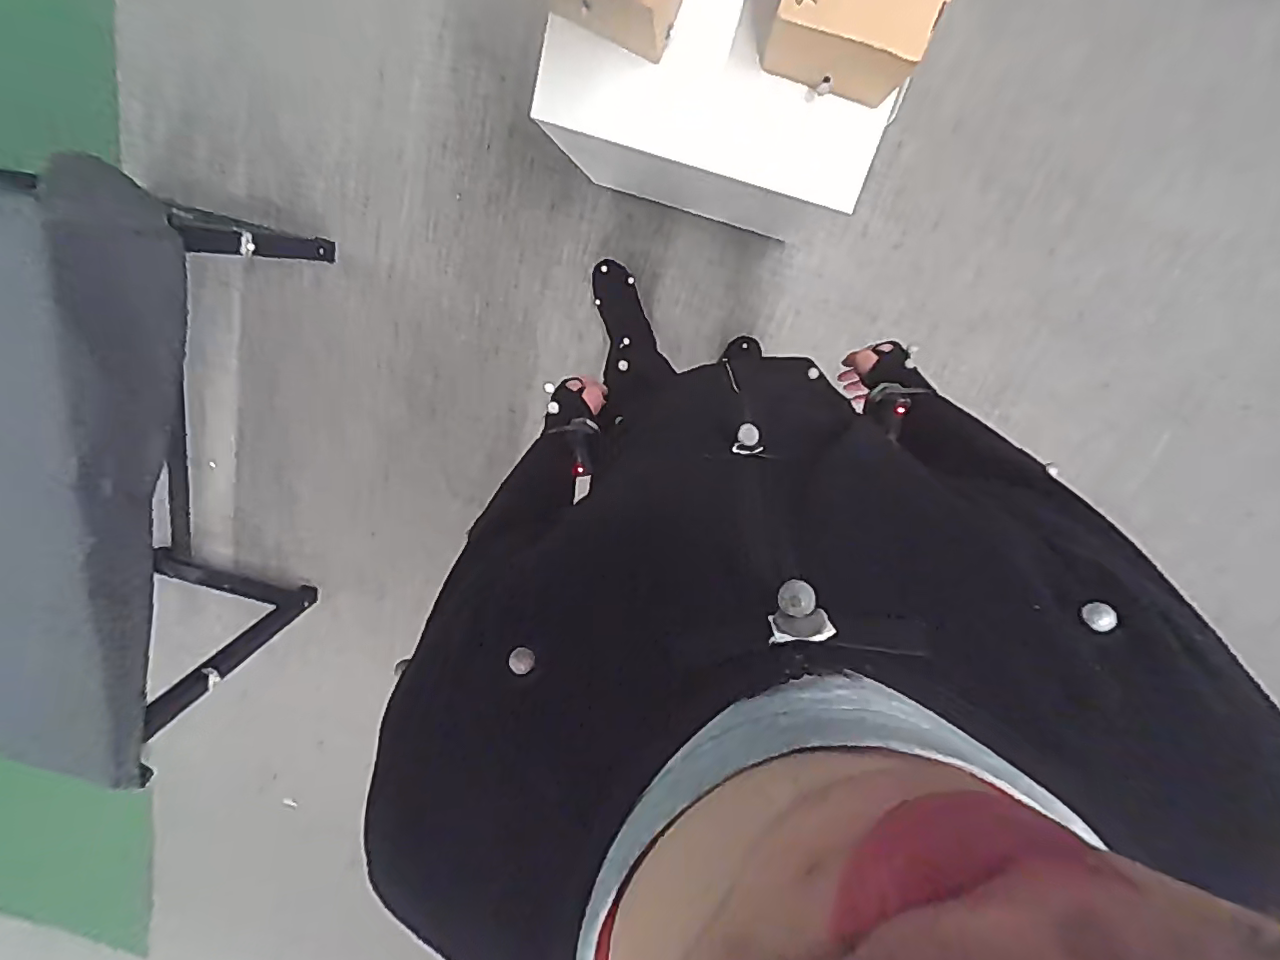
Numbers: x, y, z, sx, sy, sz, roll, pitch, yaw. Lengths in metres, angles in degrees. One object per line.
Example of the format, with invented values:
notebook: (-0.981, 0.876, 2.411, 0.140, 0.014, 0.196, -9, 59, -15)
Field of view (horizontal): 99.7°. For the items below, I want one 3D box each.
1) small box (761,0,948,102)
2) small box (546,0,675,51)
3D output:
small box: (0.265, -0.592, 0.654, 0.179, 0.176, 0.168, 18, 109, -2)
small box: (-0.028, -0.665, 0.649, 0.179, 0.176, 0.168, 24, 108, -4)
